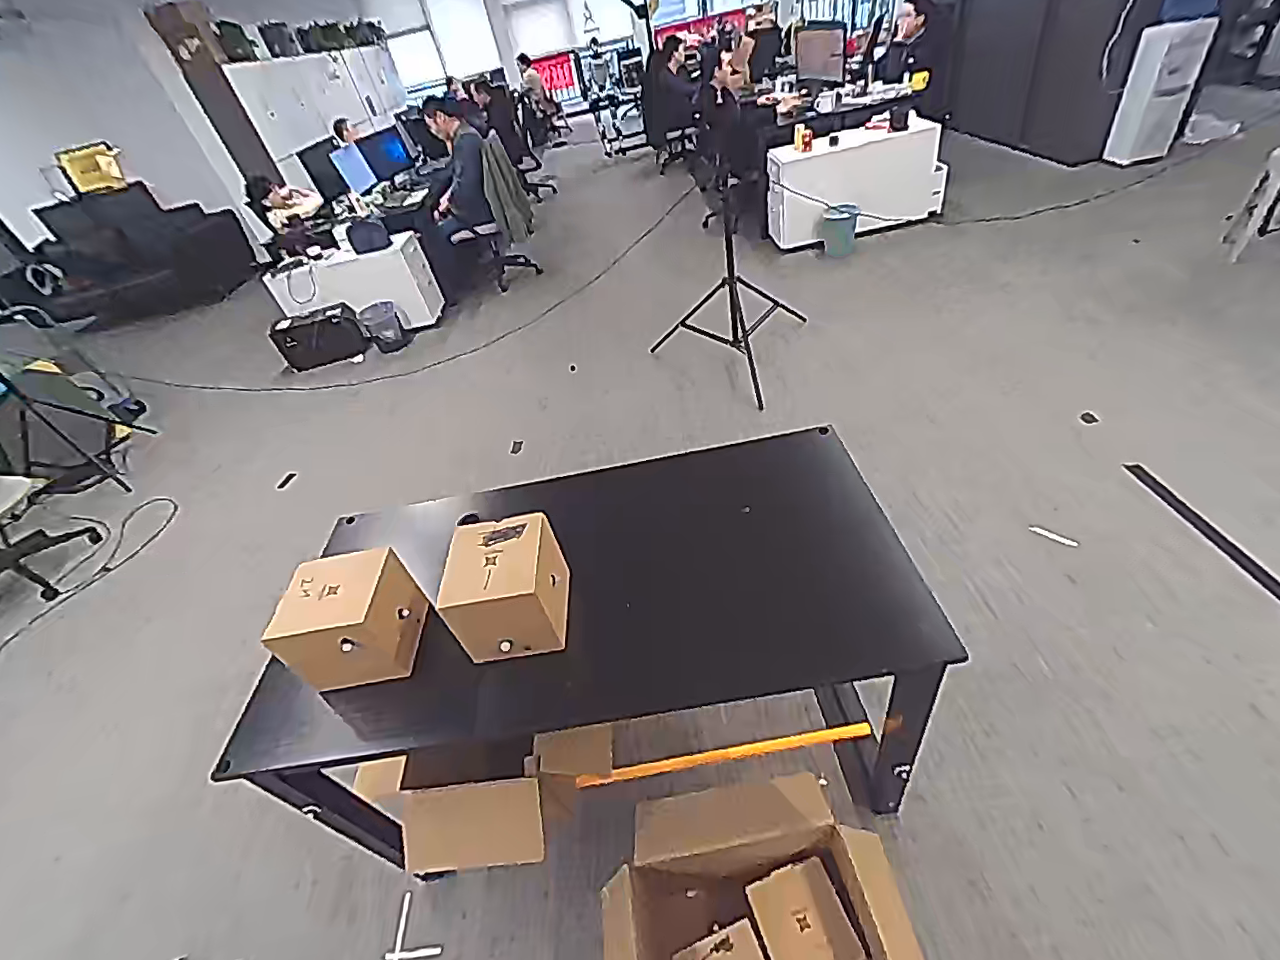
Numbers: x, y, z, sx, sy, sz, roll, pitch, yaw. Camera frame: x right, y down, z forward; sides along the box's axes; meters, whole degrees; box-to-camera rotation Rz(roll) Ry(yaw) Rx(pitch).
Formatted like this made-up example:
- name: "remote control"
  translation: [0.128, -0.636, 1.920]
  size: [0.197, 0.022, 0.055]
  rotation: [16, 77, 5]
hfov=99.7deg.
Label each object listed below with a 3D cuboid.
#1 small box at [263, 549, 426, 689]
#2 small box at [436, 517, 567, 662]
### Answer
- name: "small box"
  translation: [-0.511, 0.251, 0.969]
  size: [0.179, 0.176, 0.168]
  rotation: [-11, 40, 3]
- name: "small box"
  translation: [-0.232, 0.194, 0.957]
  size: [0.168, 0.176, 0.179]
  rotation: [-10, 41, 5]
